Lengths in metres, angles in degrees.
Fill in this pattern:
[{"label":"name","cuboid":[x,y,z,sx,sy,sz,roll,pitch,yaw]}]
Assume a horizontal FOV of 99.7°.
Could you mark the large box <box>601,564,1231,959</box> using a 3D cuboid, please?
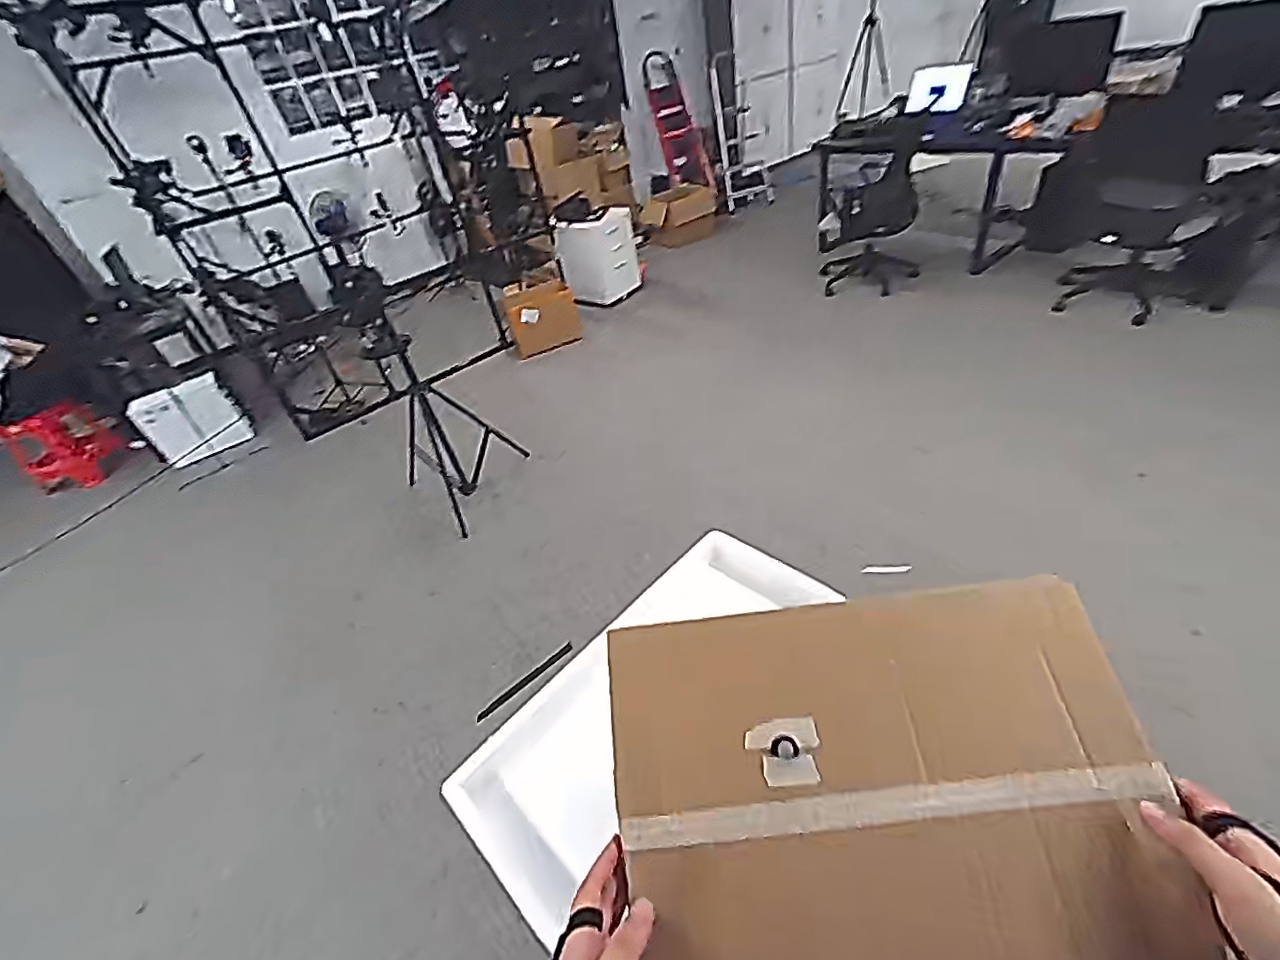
[{"label":"large box","cuboid":[0.196,0.301,0.548,0.408,0.320,0.320,-9,64,3]}]
